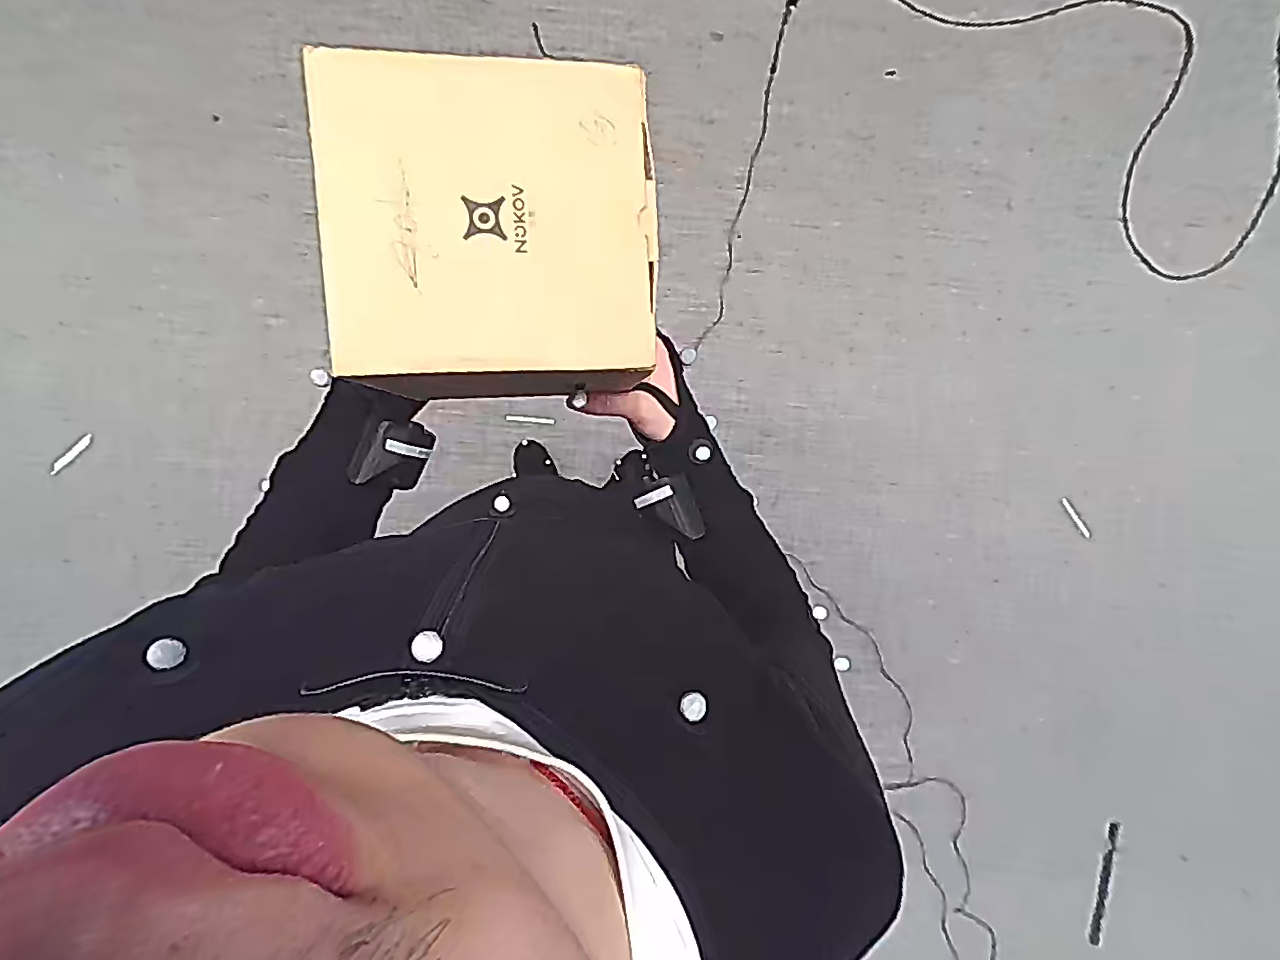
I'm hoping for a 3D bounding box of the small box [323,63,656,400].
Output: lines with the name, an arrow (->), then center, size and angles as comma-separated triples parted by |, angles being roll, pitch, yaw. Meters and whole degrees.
small box -> -0.091, -0.147, 0.381 | 0.179, 0.176, 0.168 | -3, 94, -8
